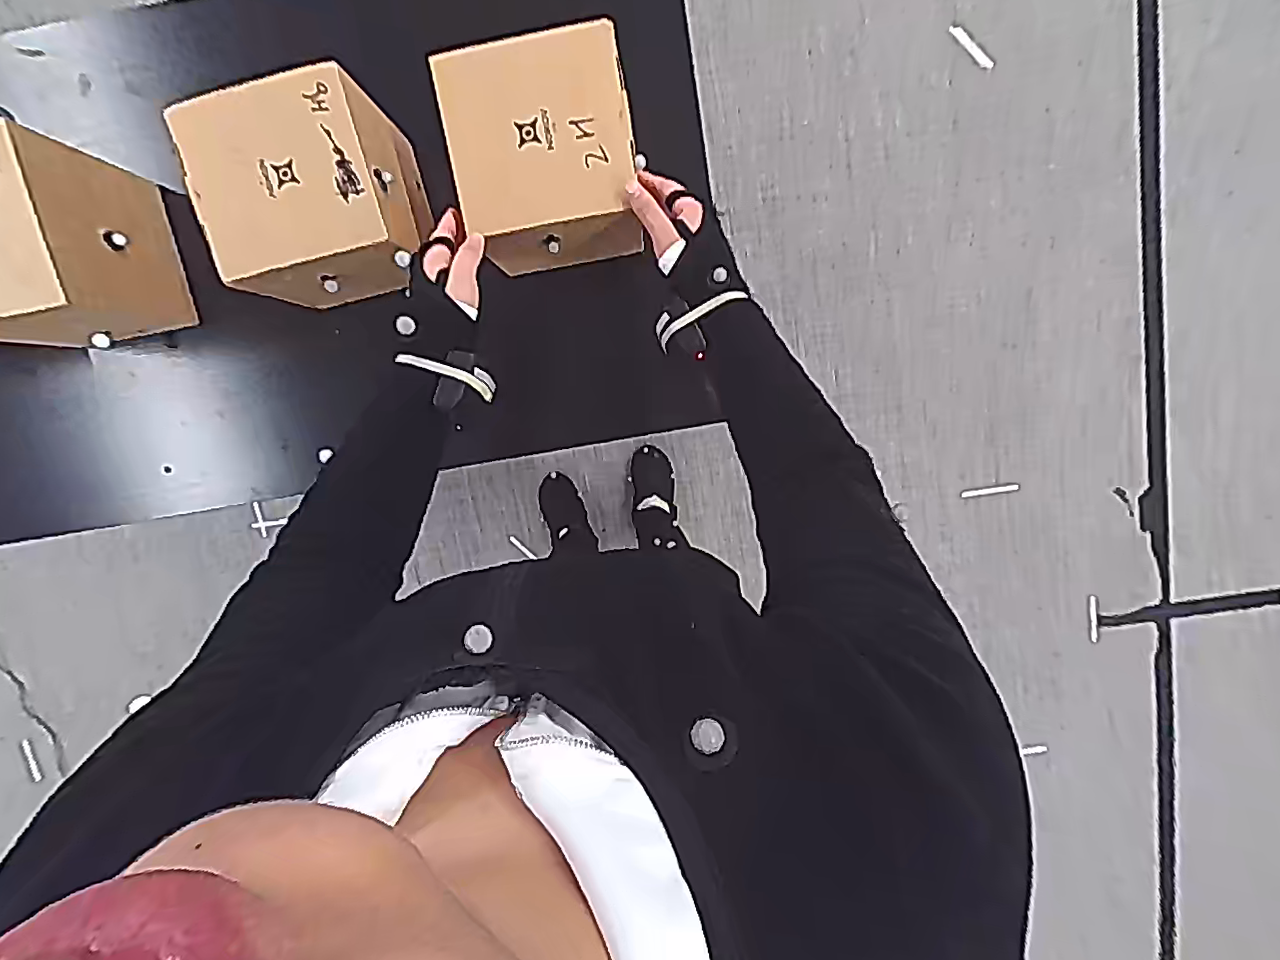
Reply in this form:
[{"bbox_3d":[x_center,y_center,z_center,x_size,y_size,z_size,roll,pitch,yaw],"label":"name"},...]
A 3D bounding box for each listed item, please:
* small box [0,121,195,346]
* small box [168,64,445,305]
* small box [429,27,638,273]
[{"bbox_3d":[-0.664,-0.258,0.609,0.168,0.176,0.179,-10,100,2],"label":"small box"},{"bbox_3d":[-0.349,-0.306,0.602,0.179,0.176,0.168,-14,99,3],"label":"small box"},{"bbox_3d":[-0.101,-0.340,0.595,0.179,0.176,0.168,-10,99,2],"label":"small box"}]
